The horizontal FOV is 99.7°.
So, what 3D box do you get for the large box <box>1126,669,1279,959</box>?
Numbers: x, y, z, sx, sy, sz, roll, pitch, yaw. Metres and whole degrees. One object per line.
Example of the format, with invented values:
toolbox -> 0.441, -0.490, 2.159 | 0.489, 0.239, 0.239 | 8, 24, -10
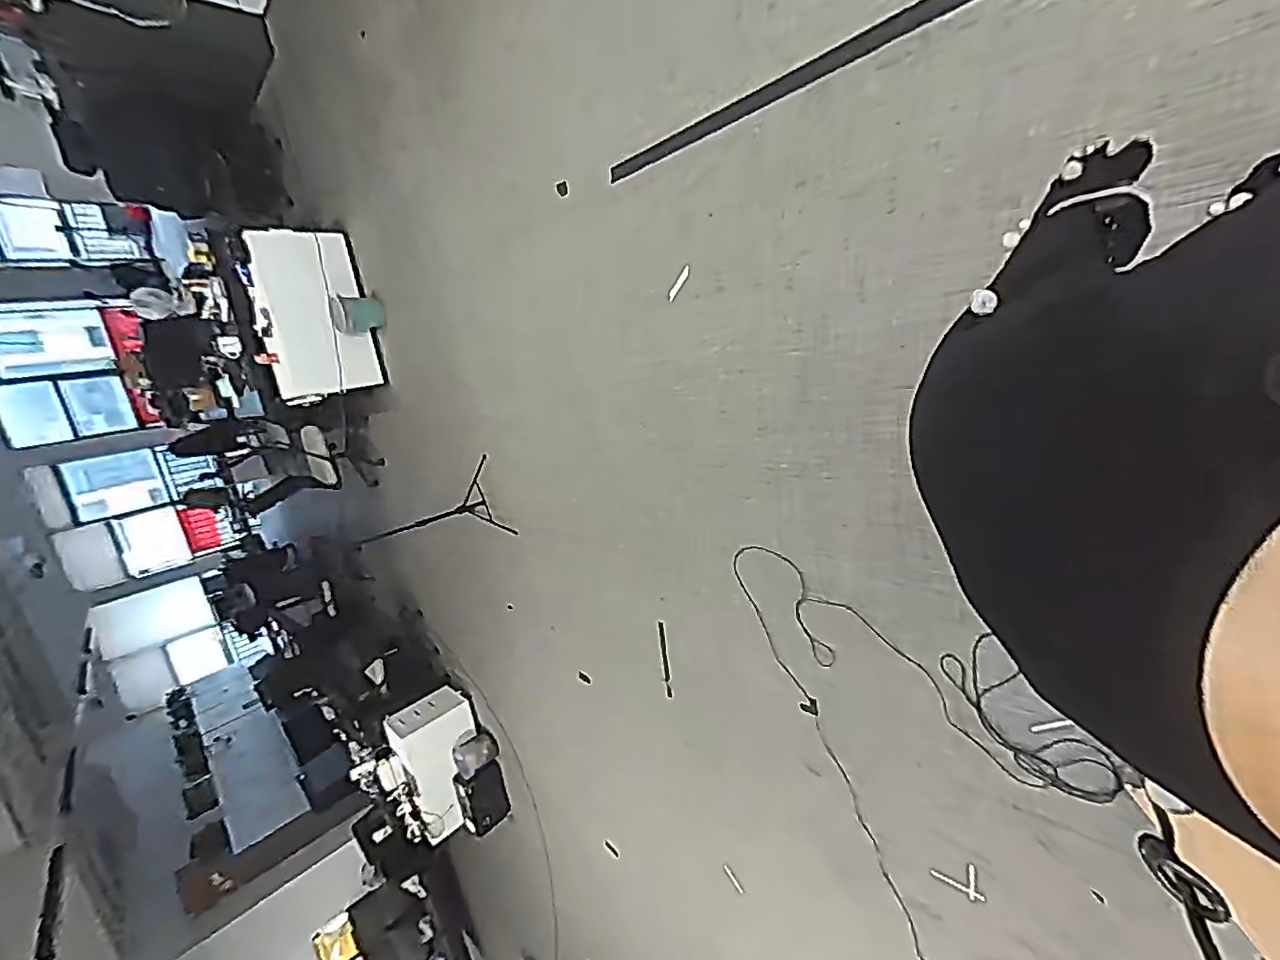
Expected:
large box -> 1.237, 0.625, 0.999 | 0.408, 0.320, 0.320 | 56, 137, 15
